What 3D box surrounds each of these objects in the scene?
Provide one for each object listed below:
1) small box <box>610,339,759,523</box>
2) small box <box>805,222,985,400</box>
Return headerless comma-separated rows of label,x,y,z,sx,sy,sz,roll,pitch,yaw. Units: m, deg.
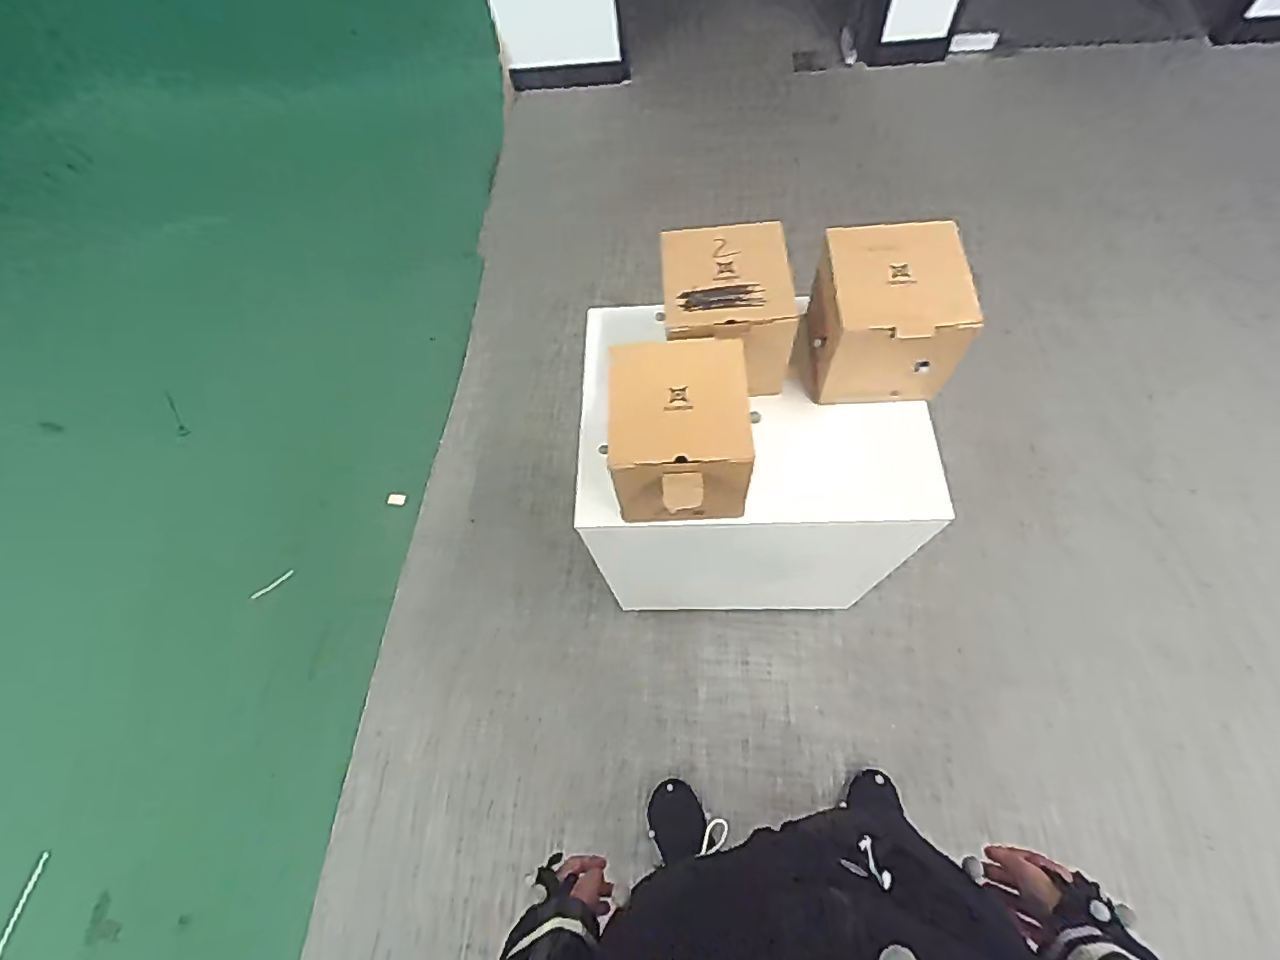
small box,0.053,-0.057,0.699,0.168,0.176,0.179,-3,64,4
small box,0.334,-0.222,0.747,0.168,0.176,0.179,-2,65,4
